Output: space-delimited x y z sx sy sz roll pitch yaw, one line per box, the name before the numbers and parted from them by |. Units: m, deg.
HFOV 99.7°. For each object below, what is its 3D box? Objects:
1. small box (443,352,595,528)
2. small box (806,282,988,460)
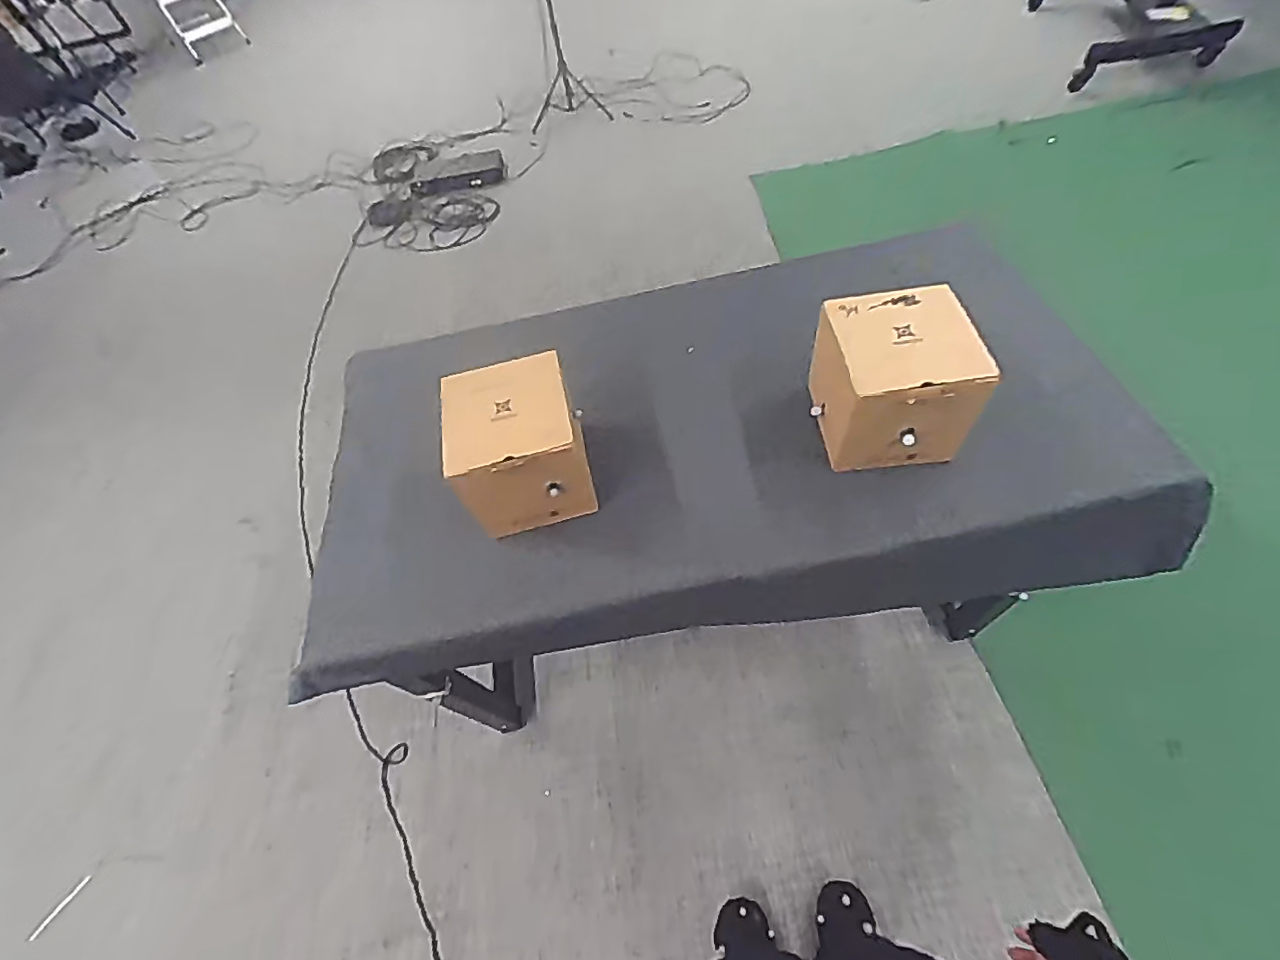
small box | -0.169 -0.048 0.780 0.168 0.176 0.179 -15 55 -2
small box | 0.338 -0.141 0.753 0.168 0.176 0.179 -7 58 5
